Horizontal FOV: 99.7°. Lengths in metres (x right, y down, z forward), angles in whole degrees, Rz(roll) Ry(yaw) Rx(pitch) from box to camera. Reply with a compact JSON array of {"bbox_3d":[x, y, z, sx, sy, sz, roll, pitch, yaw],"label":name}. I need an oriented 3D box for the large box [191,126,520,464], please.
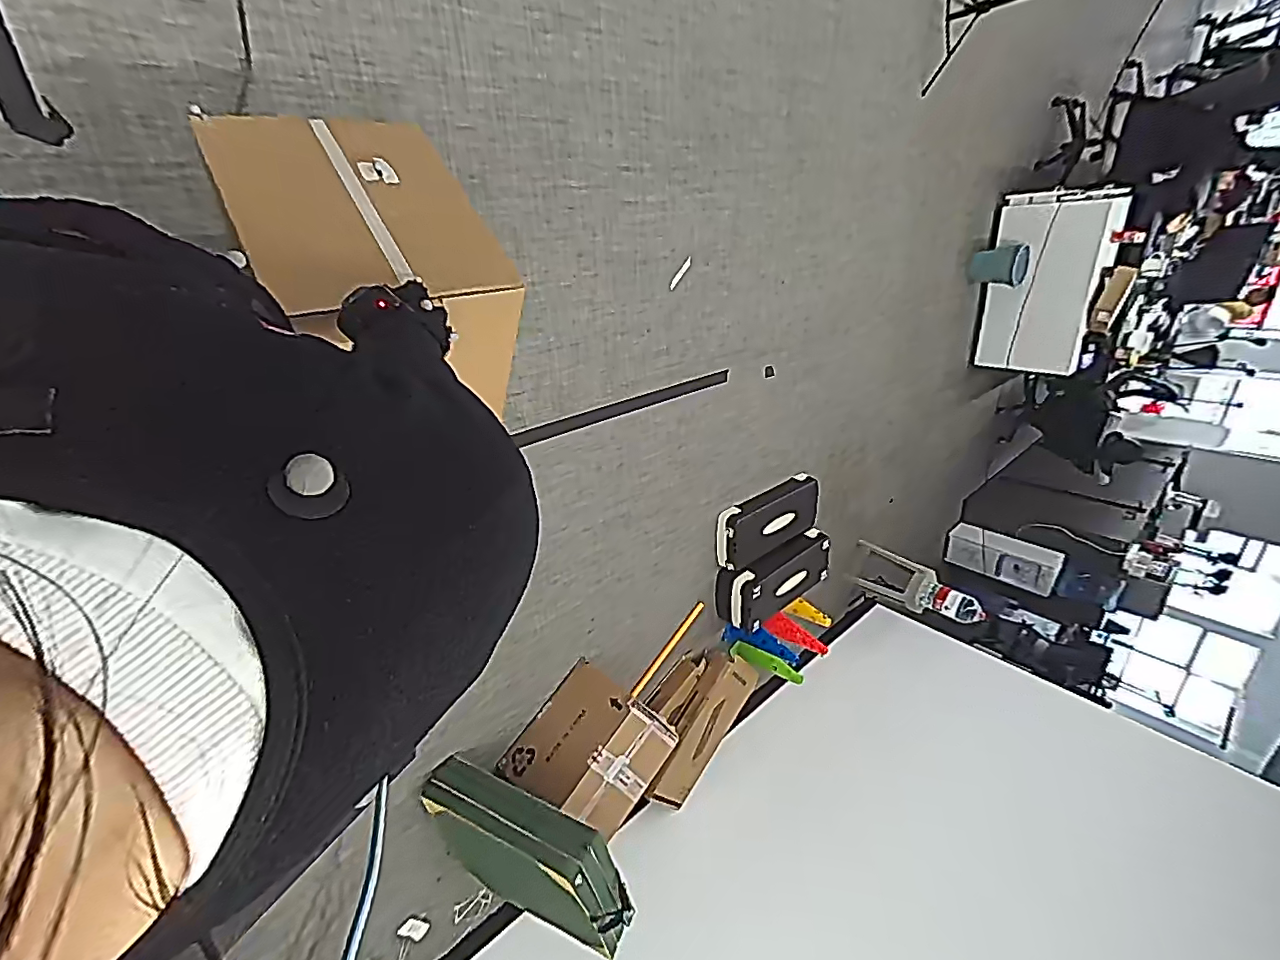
[{"bbox_3d":[-0.441,-0.300,0.881,0.320,0.408,0.320,-22,157,-33],"label":"large box"}]
